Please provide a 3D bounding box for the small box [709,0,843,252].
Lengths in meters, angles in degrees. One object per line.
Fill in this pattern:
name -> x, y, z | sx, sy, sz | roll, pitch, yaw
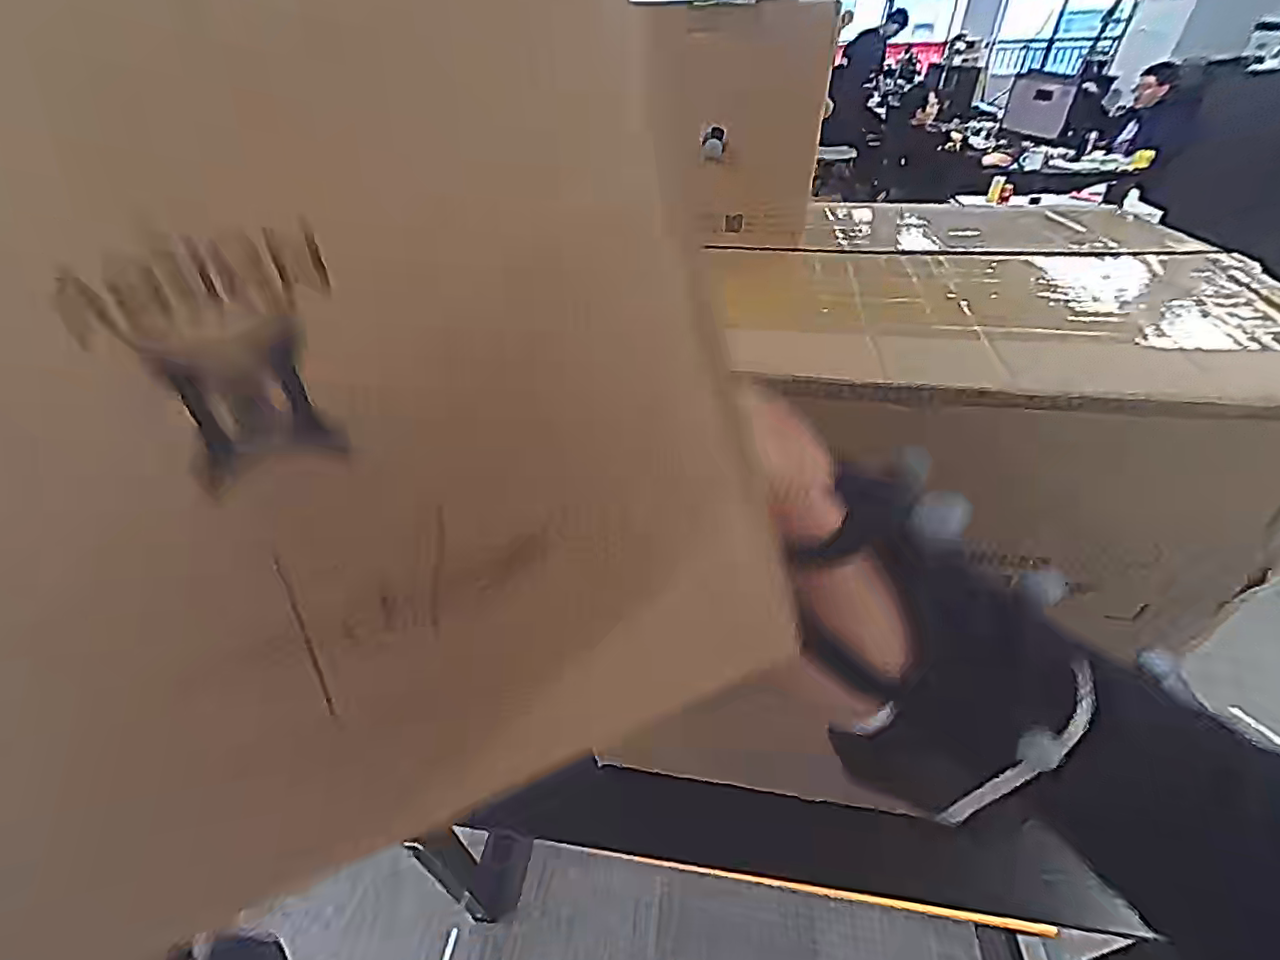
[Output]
small box -> 0.076, -0.318, 0.493 | 0.168, 0.176, 0.179 | 5, 39, 7
